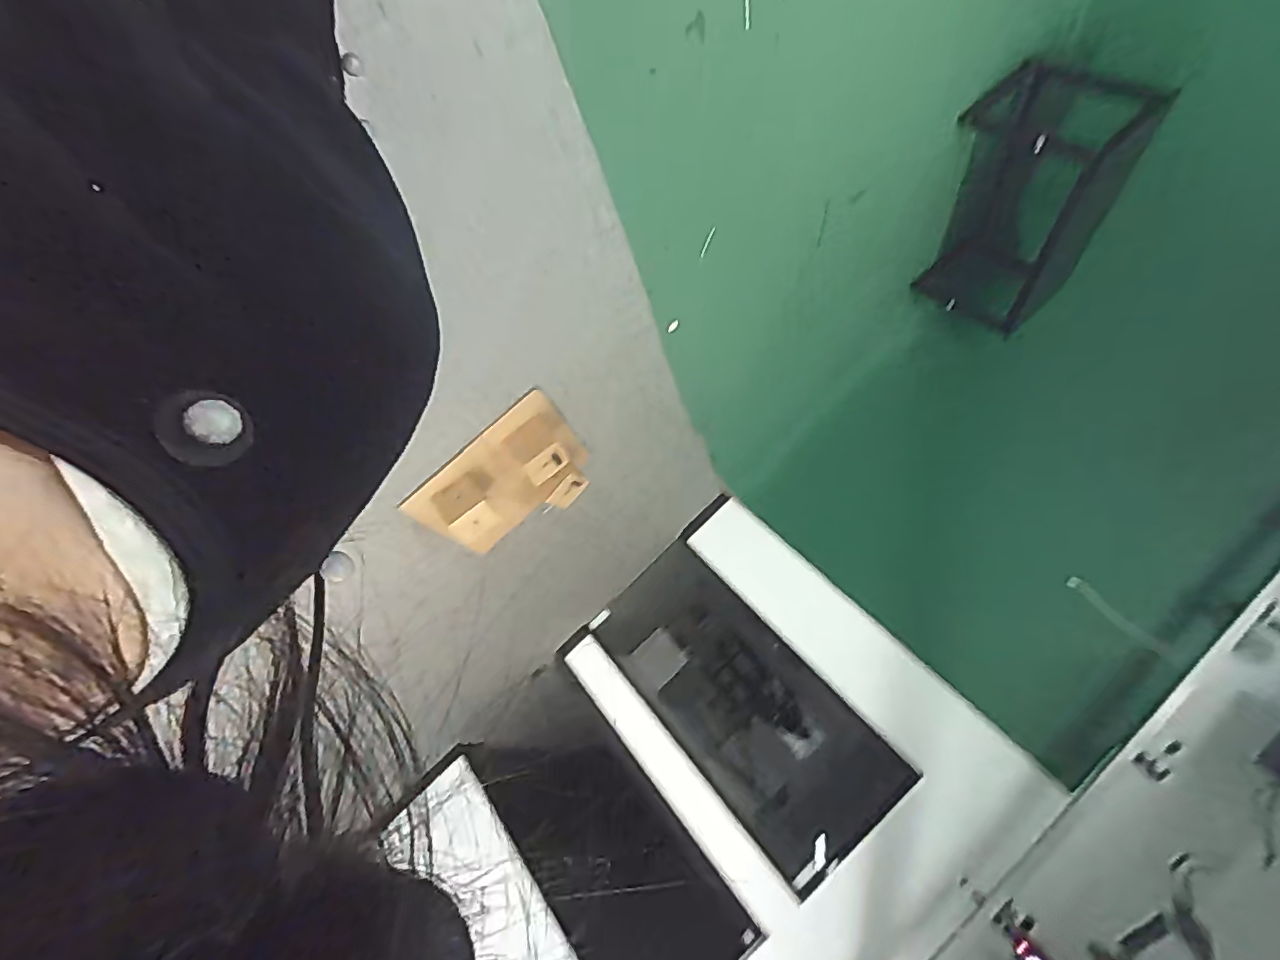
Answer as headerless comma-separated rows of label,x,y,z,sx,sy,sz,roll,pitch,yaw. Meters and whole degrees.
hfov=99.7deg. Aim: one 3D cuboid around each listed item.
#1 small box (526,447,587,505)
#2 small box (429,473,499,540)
small box,-0.373,-0.021,2.398,0.179,0.176,0.168,-48,152,8
small box,-0.692,0.098,2.122,0.168,0.176,0.179,-38,151,-11
